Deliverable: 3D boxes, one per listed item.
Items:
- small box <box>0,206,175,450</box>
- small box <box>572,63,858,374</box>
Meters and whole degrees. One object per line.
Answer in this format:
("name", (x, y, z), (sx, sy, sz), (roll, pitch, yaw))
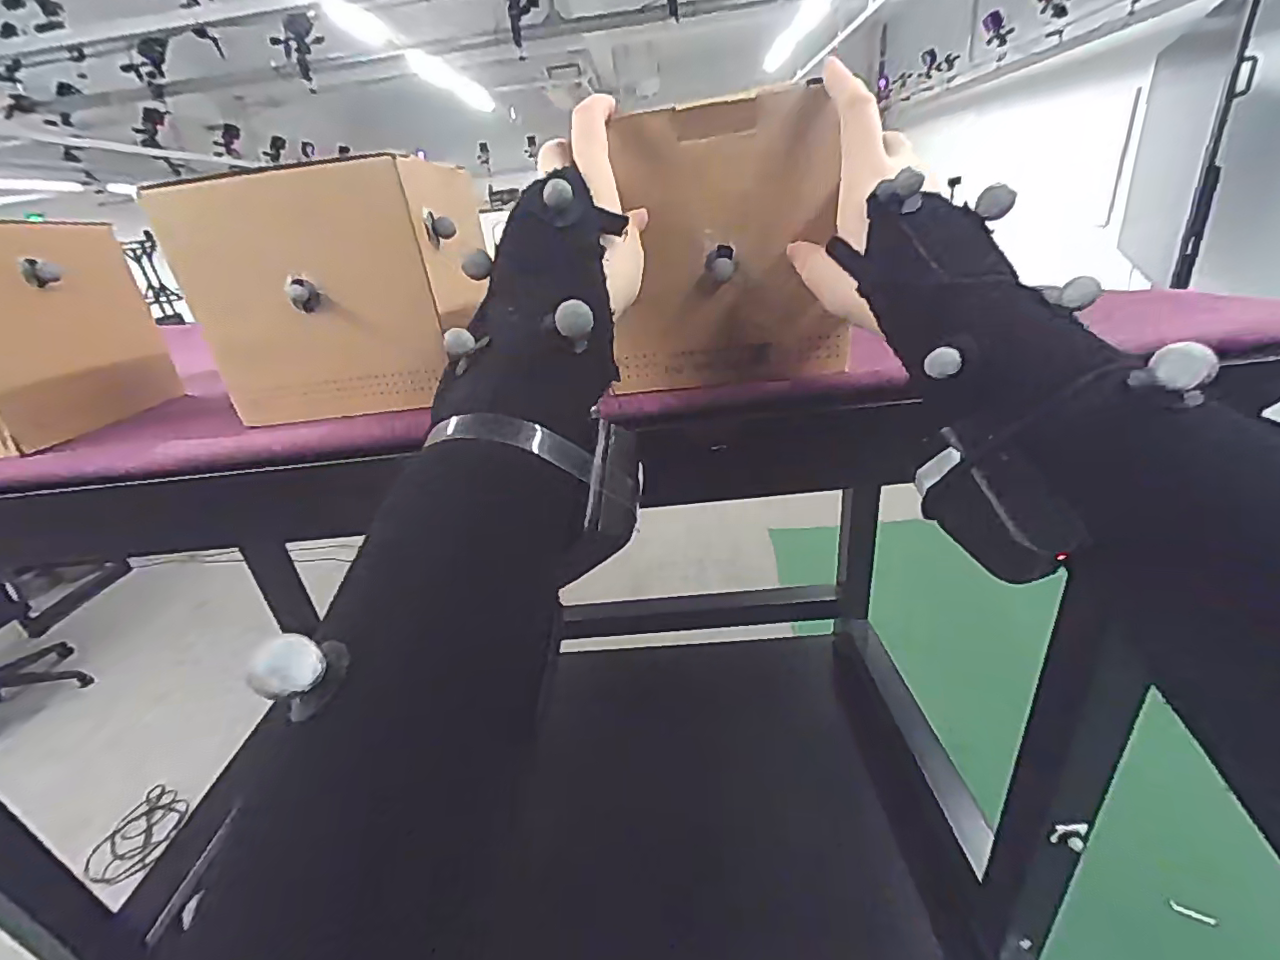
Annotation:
("small box", (-0.549, -0.128, 0.454), (0.168, 0.176, 0.179), (-6, 25, 0))
("small box", (0.057, -0.182, 0.411), (0.168, 0.176, 0.179), (-4, 26, 7))
